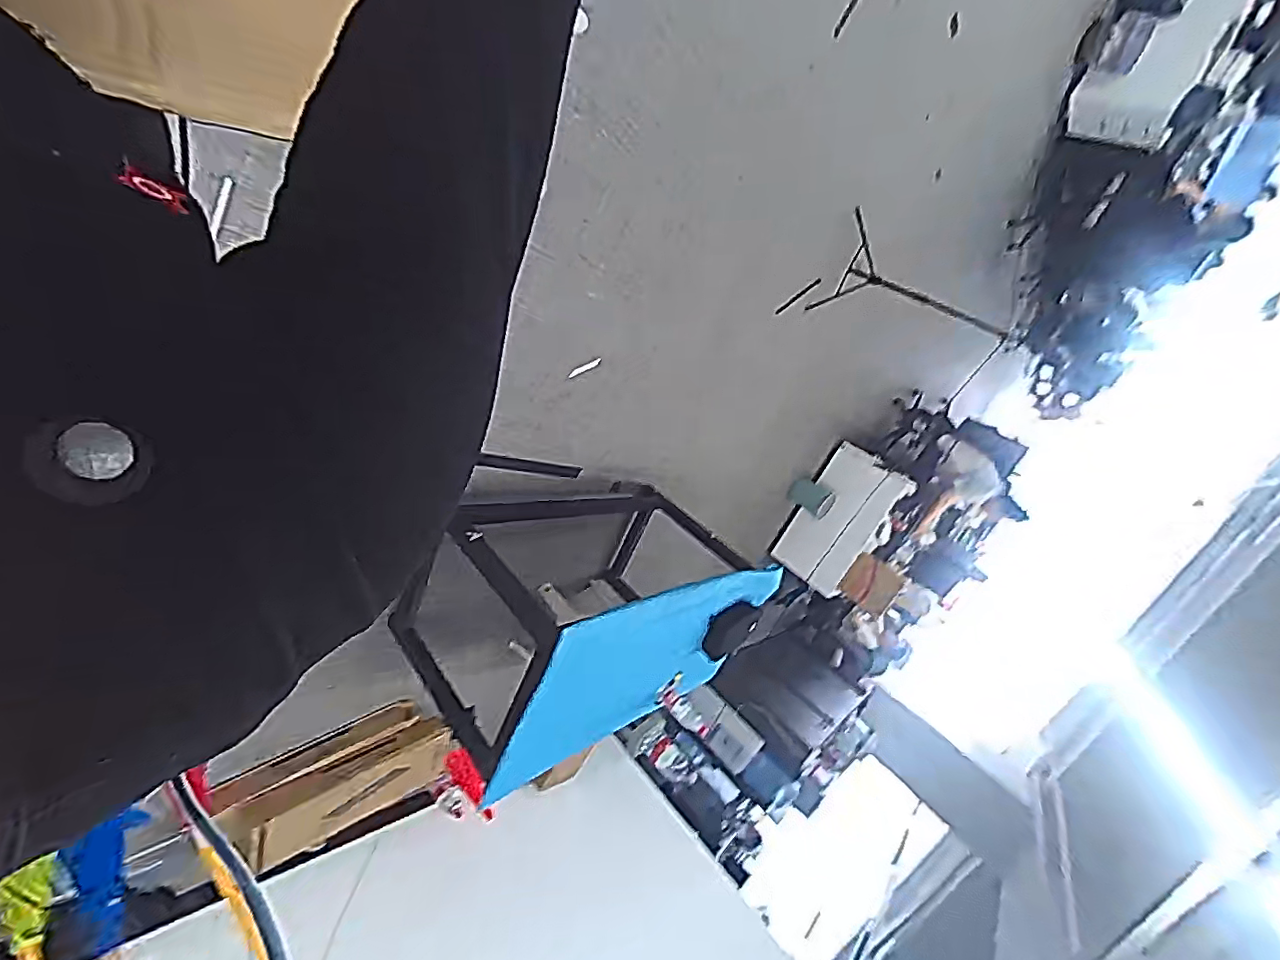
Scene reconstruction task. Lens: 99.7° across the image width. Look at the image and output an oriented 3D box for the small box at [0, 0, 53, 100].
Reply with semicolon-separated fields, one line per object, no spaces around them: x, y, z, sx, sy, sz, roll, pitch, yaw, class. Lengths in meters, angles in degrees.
-0.935;-0.608;0.693;0.168;0.176;0.179;-50;134;-35;small box
